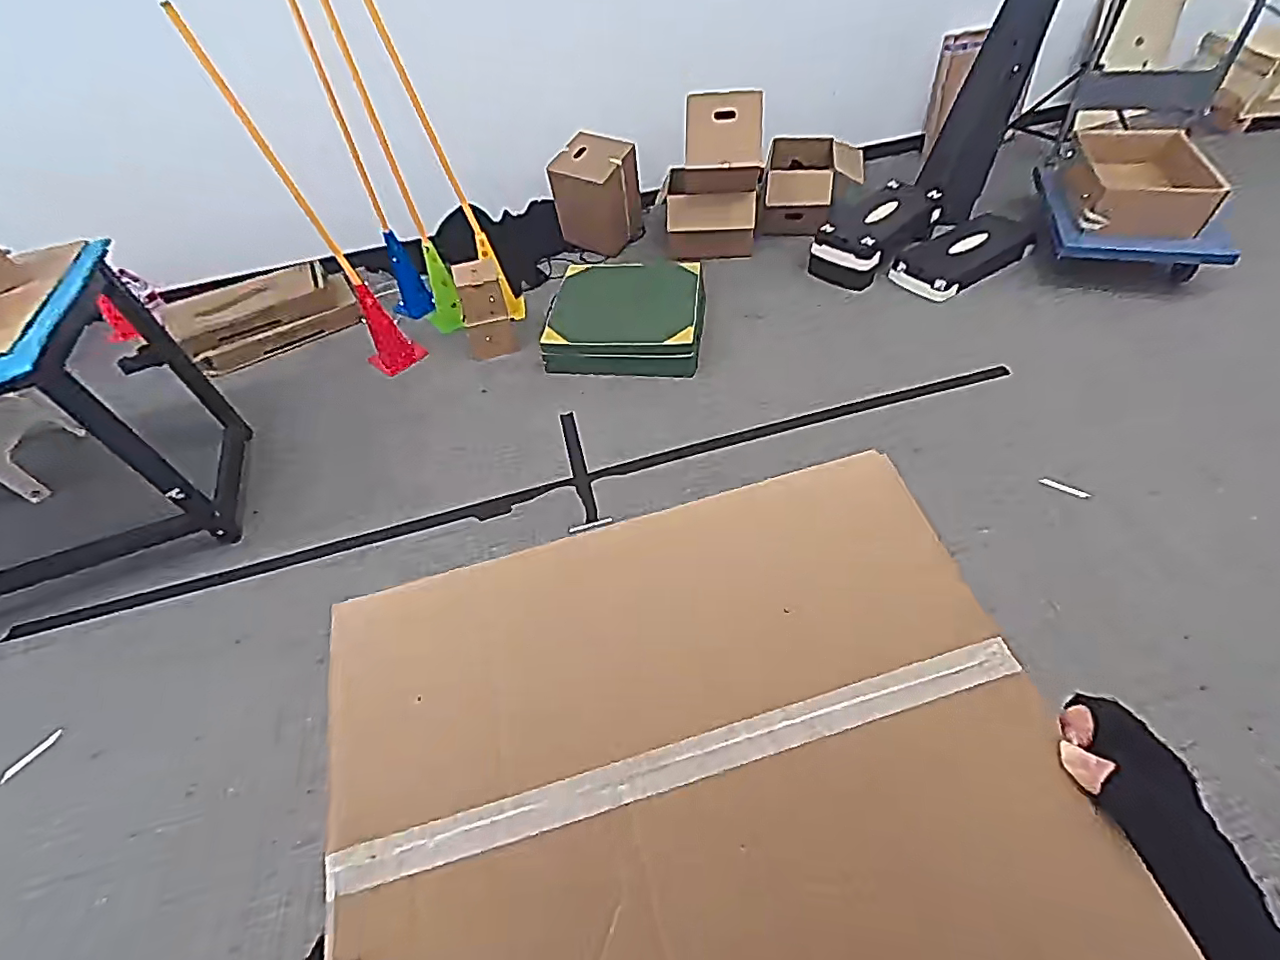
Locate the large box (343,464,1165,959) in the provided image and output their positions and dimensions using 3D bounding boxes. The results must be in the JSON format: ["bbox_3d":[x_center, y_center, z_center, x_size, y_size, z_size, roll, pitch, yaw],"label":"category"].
[{"bbox_3d":[0.038,0.240,0.445,0.408,0.320,0.320,-16,59,-4],"label":"large box"}]
